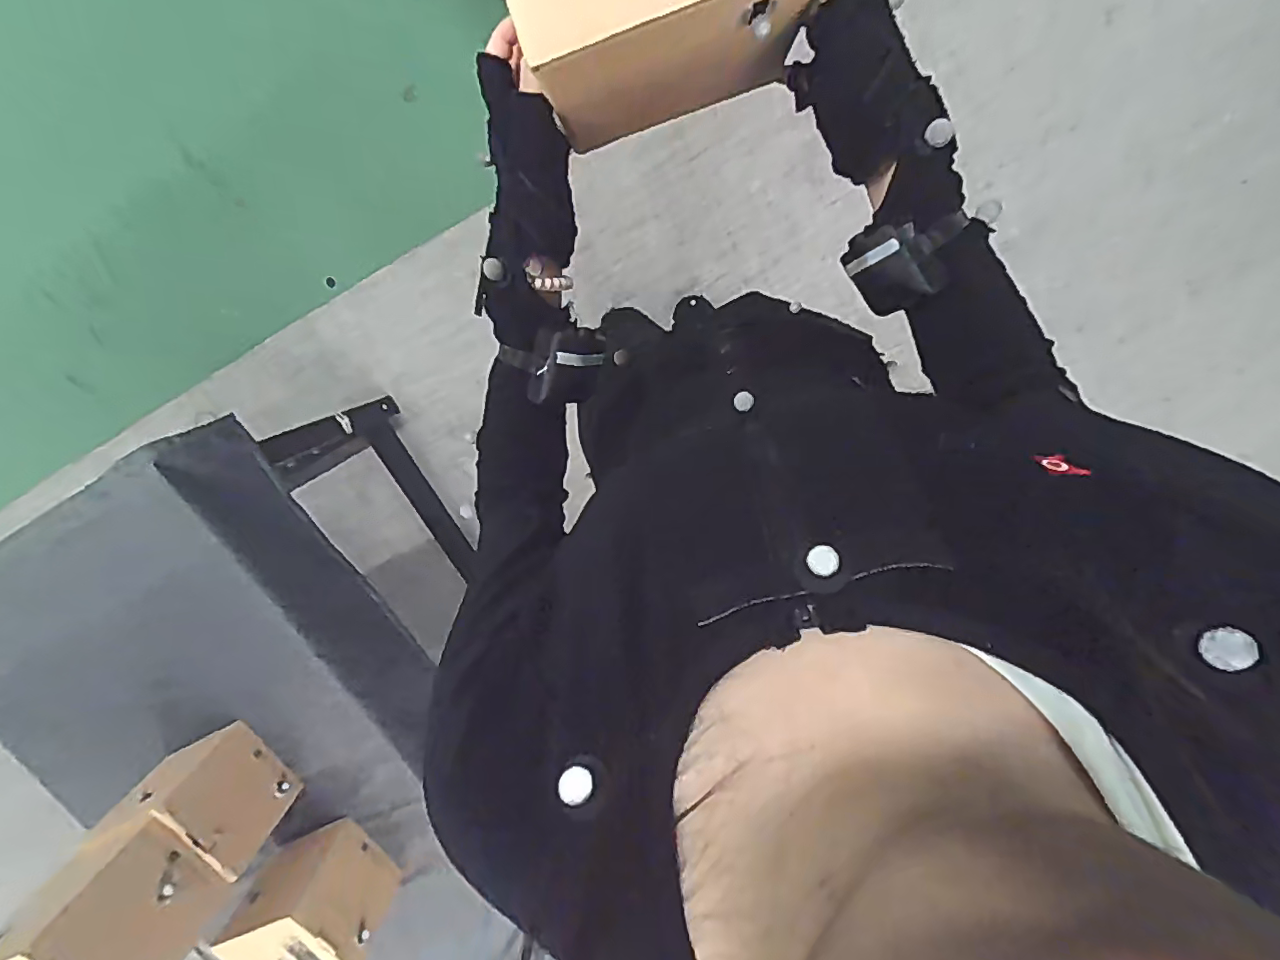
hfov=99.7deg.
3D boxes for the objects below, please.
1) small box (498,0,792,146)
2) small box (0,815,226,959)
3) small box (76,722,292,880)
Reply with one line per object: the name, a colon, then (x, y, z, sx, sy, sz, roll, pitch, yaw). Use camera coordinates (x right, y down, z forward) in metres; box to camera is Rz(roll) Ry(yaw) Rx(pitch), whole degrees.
small box: (-0.004, -0.345, 0.340, 0.179, 0.176, 0.168, -17, 105, 7)
small box: (-0.714, 0.594, 0.715, 0.179, 0.176, 0.168, -29, 106, 10)
small box: (-0.702, 0.525, 0.864, 0.179, 0.176, 0.168, -27, 105, 11)
